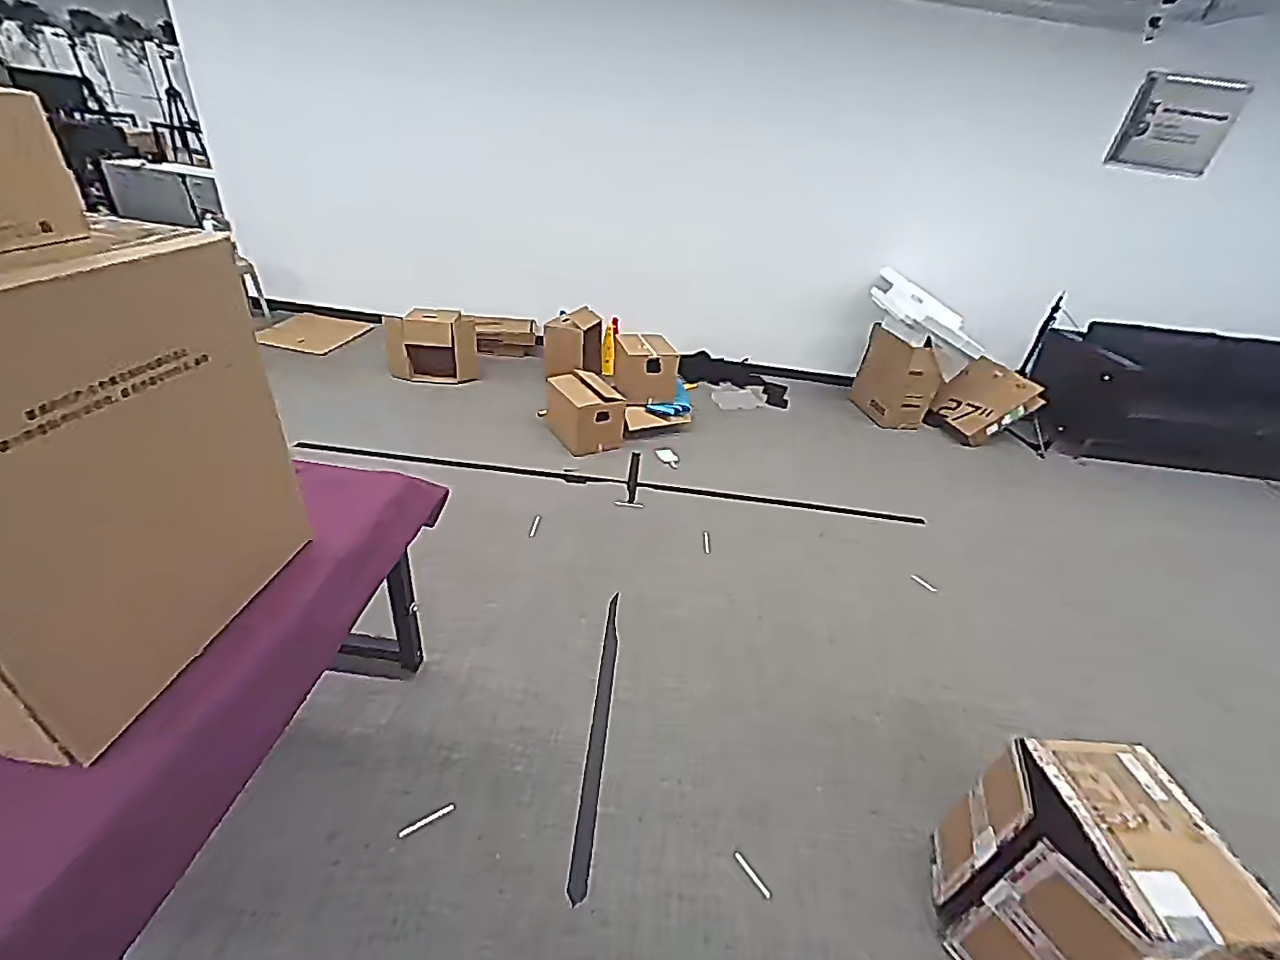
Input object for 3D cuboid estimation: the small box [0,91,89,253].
[{"bbox_3d":[-0.849,-0.375,0.650,0.179,0.176,0.168,8,33,1],"label":"small box"}]
